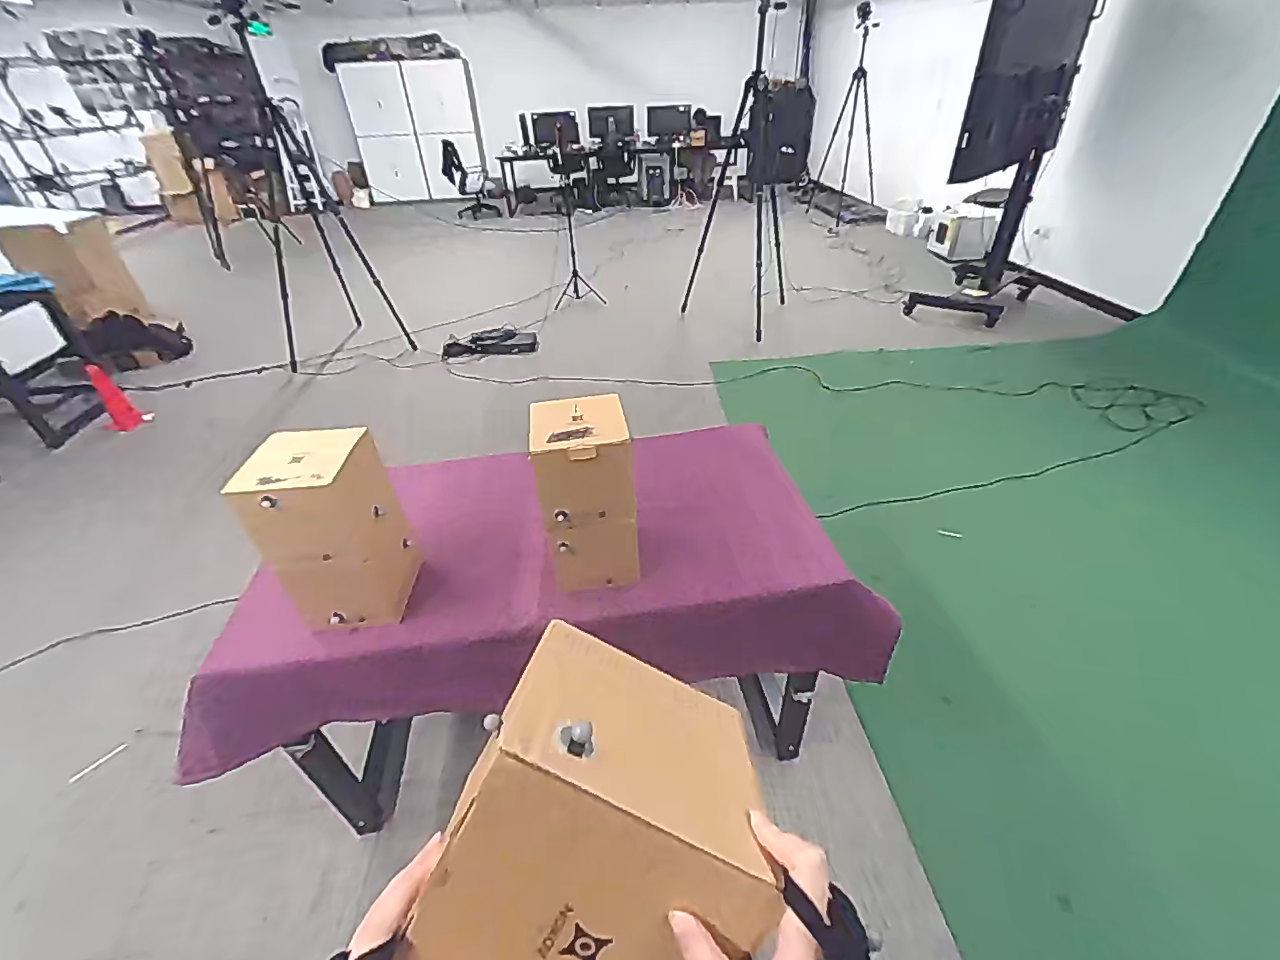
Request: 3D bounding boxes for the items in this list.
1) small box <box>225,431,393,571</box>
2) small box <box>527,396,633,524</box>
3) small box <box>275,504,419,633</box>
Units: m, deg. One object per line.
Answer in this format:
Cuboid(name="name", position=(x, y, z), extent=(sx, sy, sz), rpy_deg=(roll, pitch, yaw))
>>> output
Cuboid(name="small box", position=(-0.550, 0.034, 0.933), extent=(0.168, 0.176, 0.179), rpy_deg=(-6, 35, 0))
Cuboid(name="small box", position=(-0.108, -0.033, 0.987), extent=(0.168, 0.176, 0.179), rpy_deg=(-8, 35, -6))
Cuboid(name="small box", position=(-0.541, 0.167, 1.031), extent=(0.168, 0.176, 0.179), rpy_deg=(-5, 37, -1))
